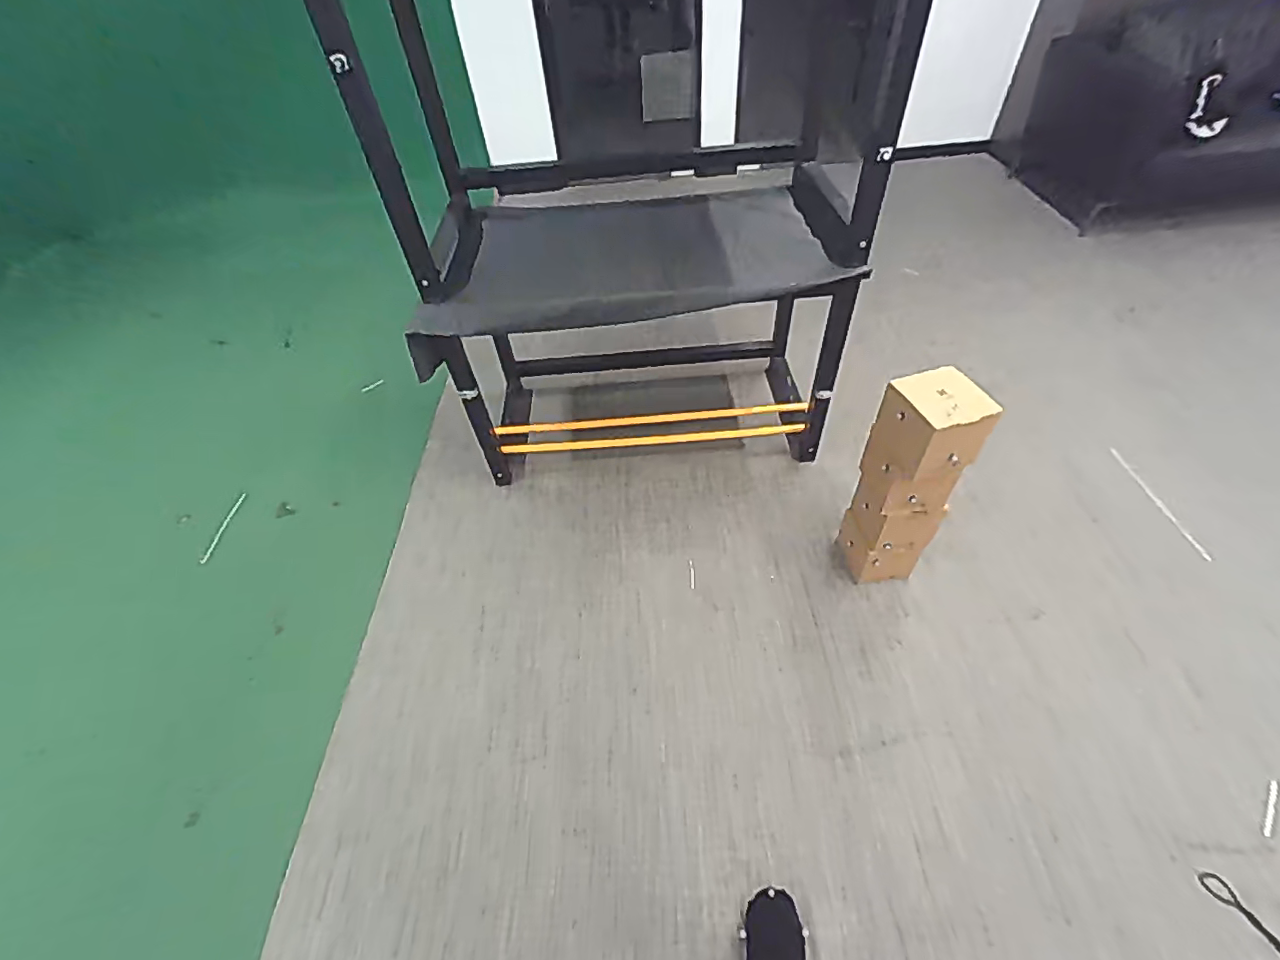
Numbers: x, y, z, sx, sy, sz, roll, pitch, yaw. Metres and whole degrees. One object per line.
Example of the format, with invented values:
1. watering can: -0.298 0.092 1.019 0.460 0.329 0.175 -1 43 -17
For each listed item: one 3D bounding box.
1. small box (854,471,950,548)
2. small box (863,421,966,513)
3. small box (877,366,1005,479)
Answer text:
1. small box: 0.716 0.074 1.498 0.168 0.176 0.179 -6 47 -1
2. small box: 0.691 -0.037 1.382 0.168 0.176 0.179 -5 48 2
3. small box: 0.679 -0.132 1.248 0.168 0.176 0.179 -15 49 -7
